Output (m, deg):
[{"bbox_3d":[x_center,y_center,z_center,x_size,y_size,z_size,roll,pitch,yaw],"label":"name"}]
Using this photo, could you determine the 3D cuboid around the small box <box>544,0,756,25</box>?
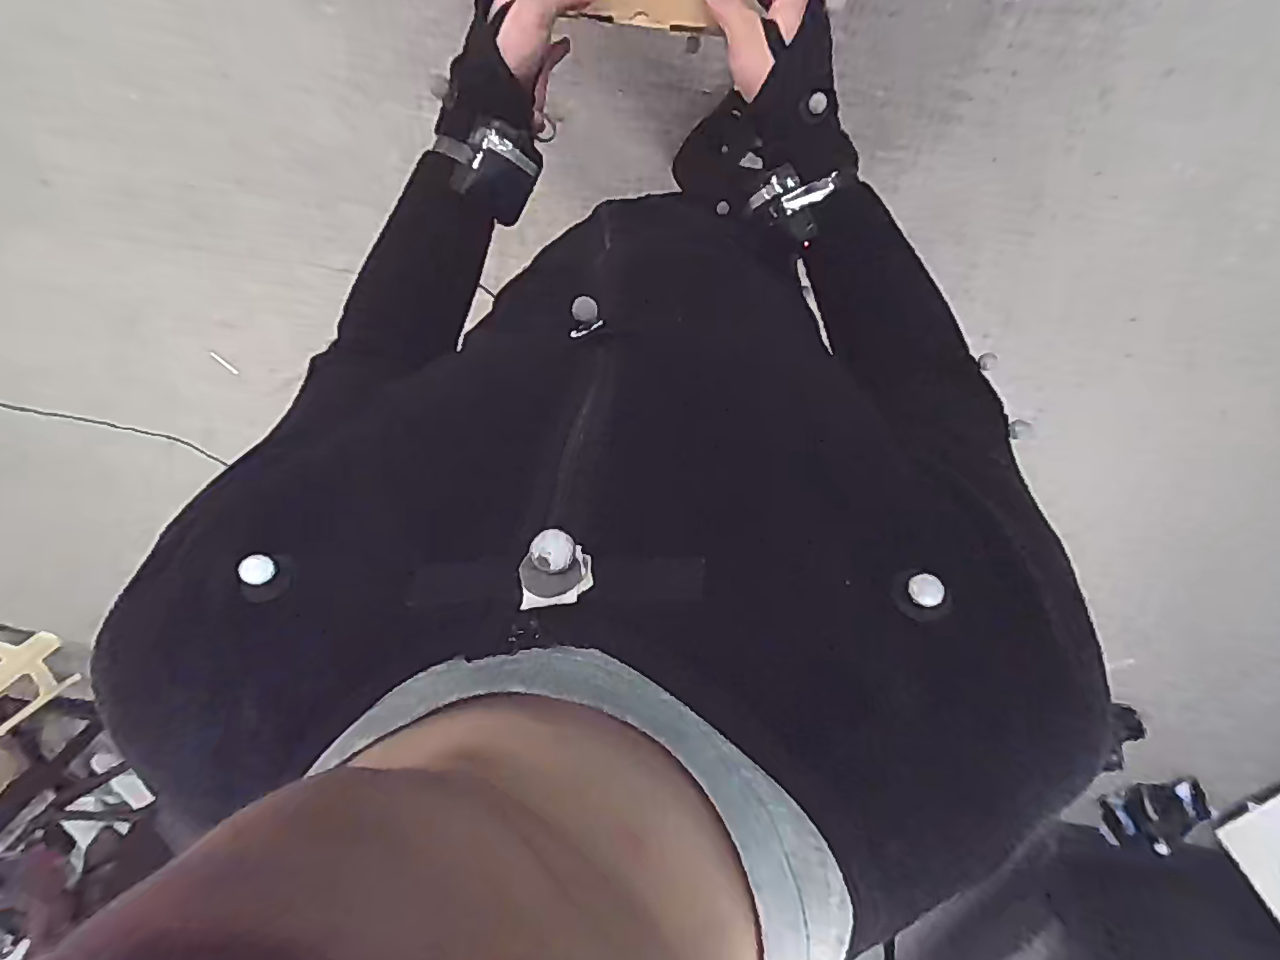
[{"bbox_3d":[0.022,-0.465,0.408,0.168,0.176,0.179,9,129,4],"label":"small box"}]
